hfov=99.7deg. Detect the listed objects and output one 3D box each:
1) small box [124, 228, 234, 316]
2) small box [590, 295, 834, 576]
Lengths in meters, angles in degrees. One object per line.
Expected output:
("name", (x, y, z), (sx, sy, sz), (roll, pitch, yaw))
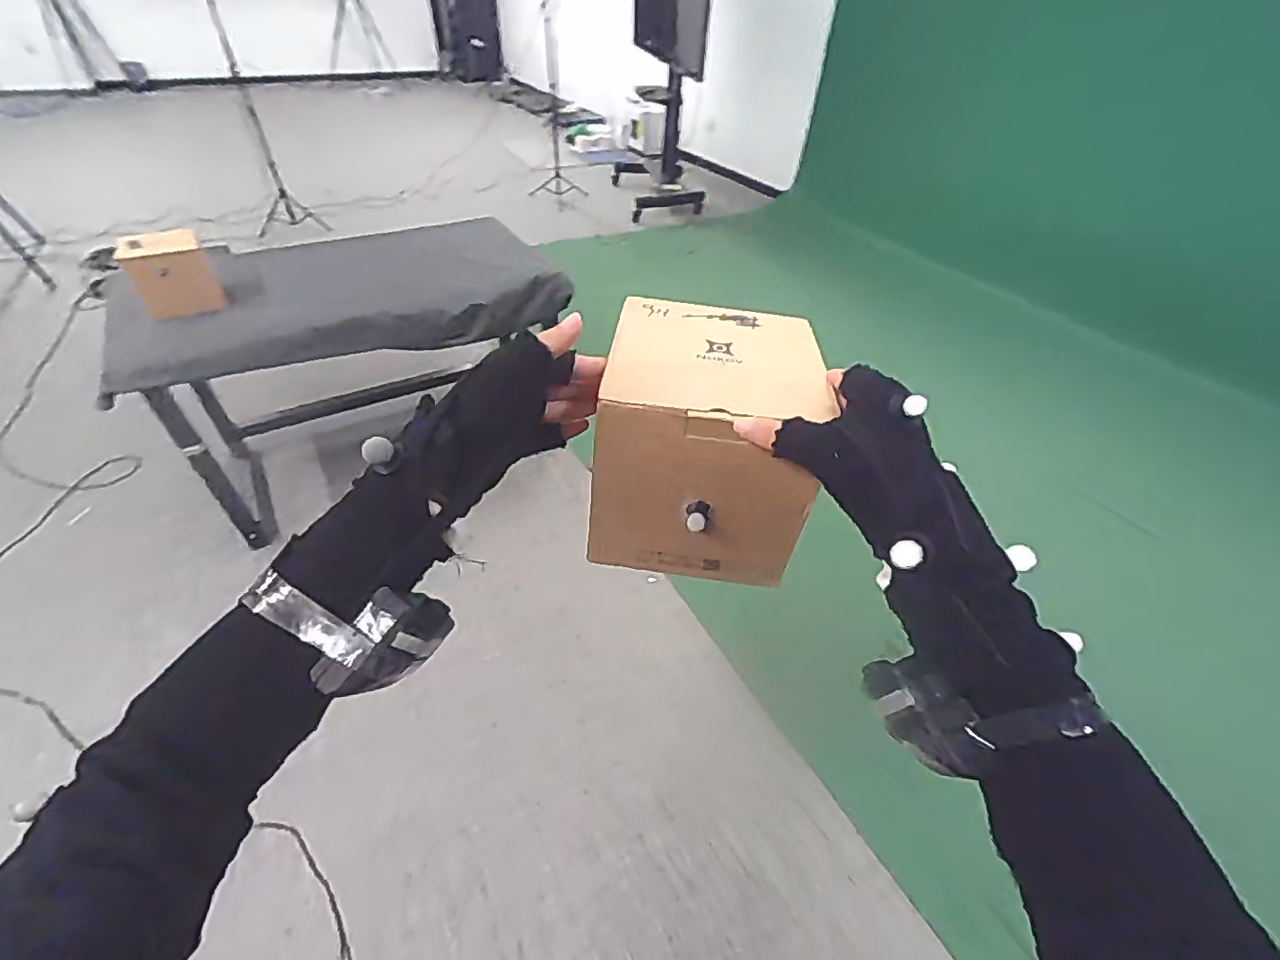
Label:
("small box", (-1.257, -0.568, 1.480), (0.179, 0.176, 0.168), (-22, 50, -26))
("small box", (0.050, -0.038, 0.472), (0.168, 0.176, 0.179), (7, 42, 0))
